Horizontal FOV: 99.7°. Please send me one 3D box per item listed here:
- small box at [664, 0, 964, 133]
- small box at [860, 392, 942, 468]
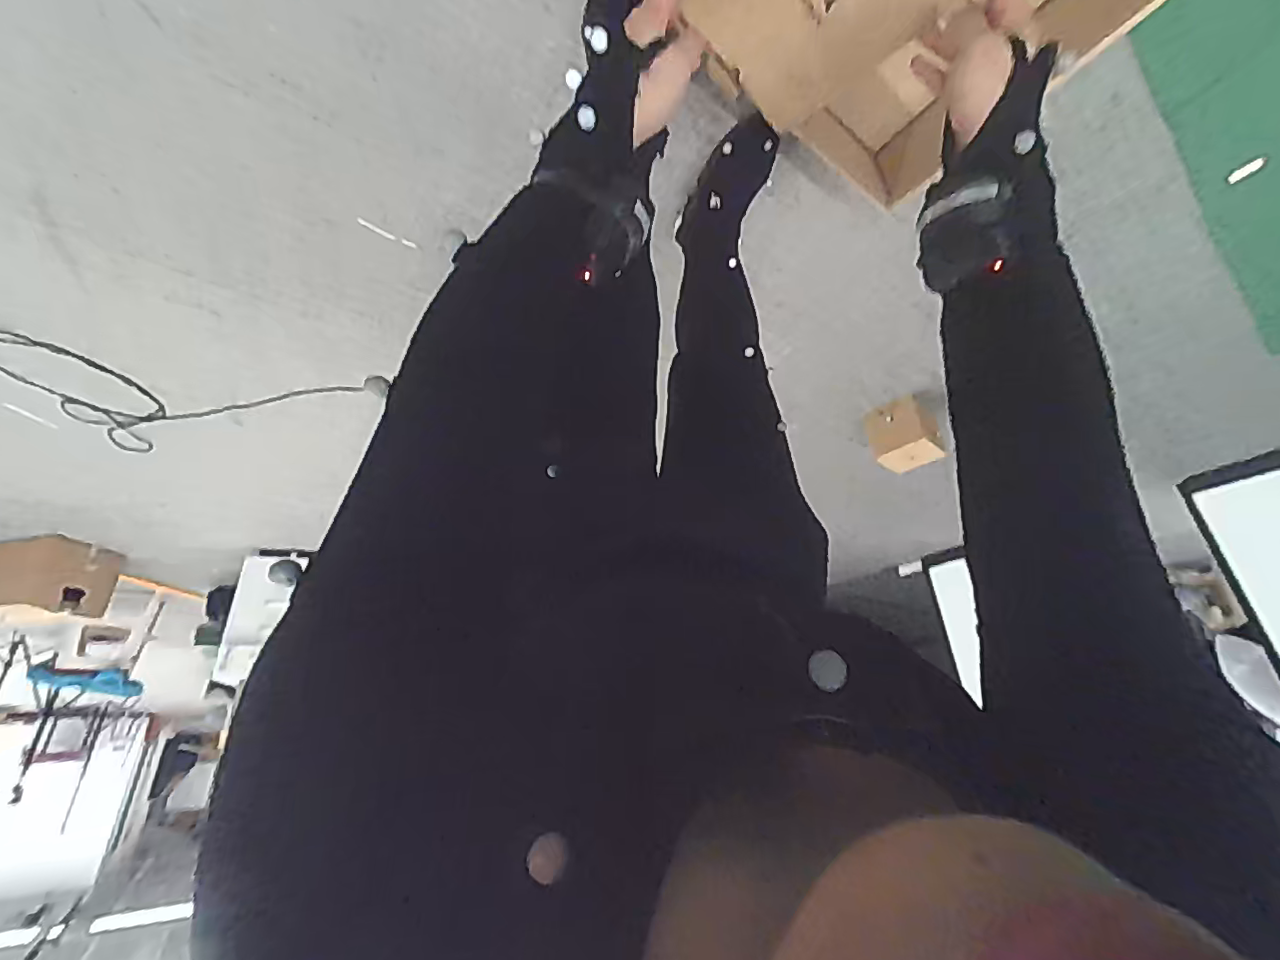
[{"bbox_3d":[0.135,-0.447,0.438,0.179,0.176,0.168,-14,160,42],"label":"small box"},{"bbox_3d":[0.853,-0.164,1.773,0.179,0.176,0.168,19,146,-38],"label":"small box"}]
